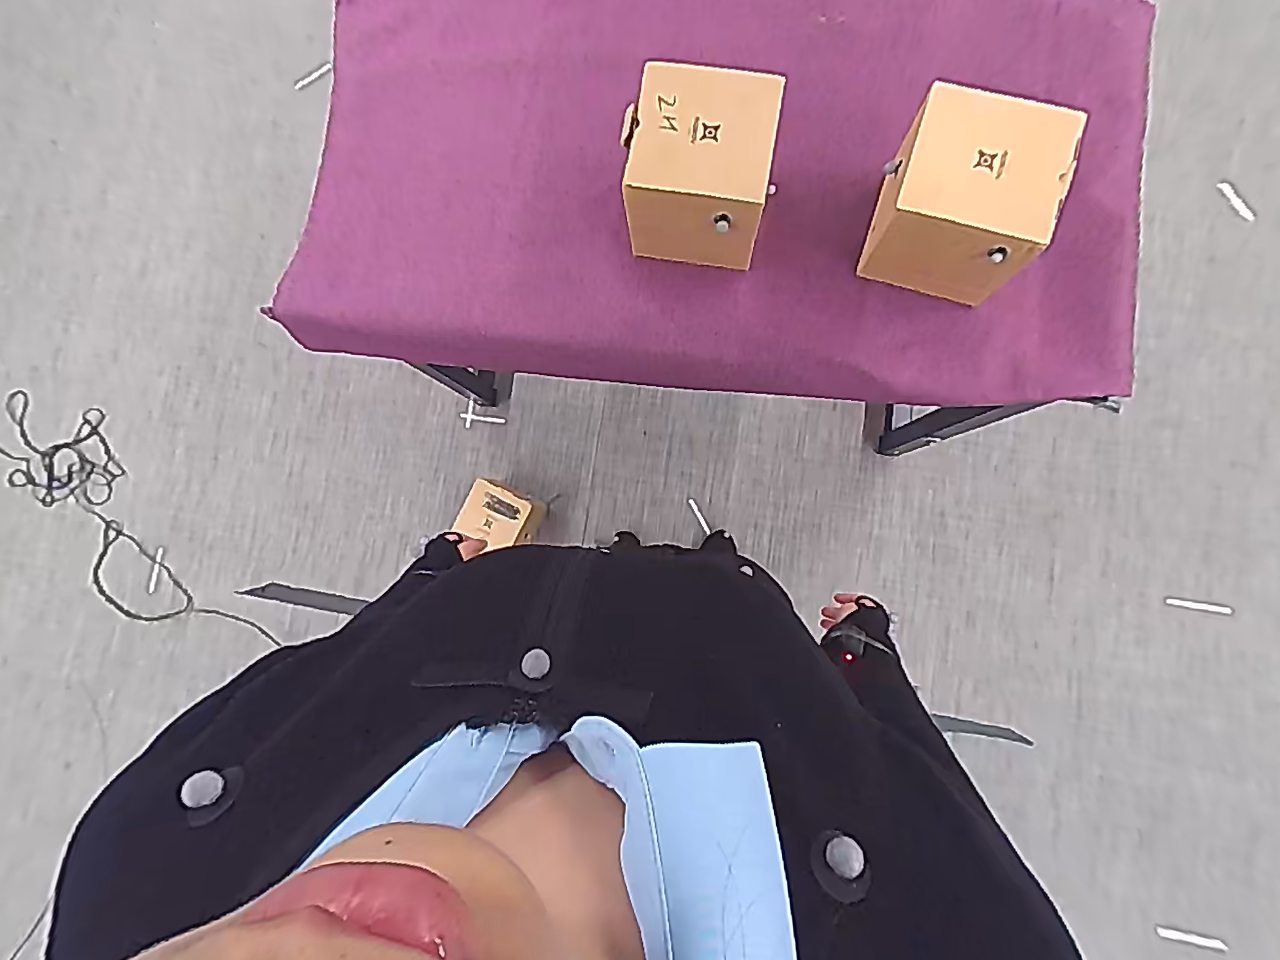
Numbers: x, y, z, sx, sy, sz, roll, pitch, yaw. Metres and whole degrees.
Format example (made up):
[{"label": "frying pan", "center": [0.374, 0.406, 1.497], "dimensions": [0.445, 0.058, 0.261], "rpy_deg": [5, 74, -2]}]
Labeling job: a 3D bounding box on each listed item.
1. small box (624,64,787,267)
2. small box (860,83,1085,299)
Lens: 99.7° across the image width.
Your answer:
[{"label": "small box", "center": [0.085, -0.411, 0.733], "dimensions": [0.179, 0.176, 0.168], "rpy_deg": [10, 85, 6]}, {"label": "small box", "center": [0.410, -0.358, 0.700], "dimensions": [0.179, 0.176, 0.168], "rpy_deg": [17, 86, 6]}]
